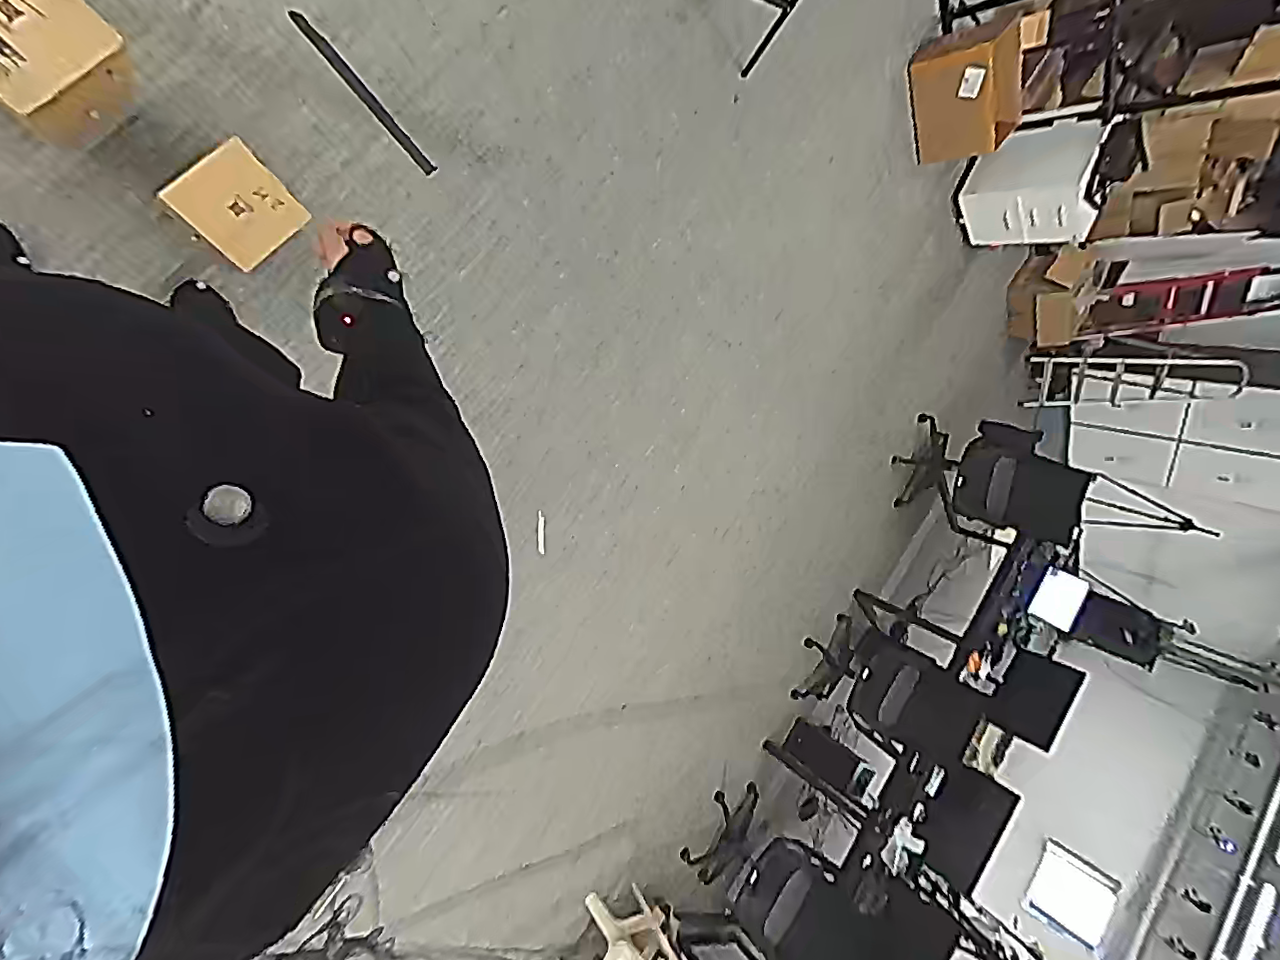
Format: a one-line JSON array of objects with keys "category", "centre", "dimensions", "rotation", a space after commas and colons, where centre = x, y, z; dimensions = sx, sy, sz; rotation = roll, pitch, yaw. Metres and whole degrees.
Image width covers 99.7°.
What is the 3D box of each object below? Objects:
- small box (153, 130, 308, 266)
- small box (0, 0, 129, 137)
[{"category": "small box", "centre": [-0.796, -0.540, 1.056], "dimensions": [0.179, 0.176, 0.168], "rotation": [-51, 133, -15]}, {"category": "small box", "centre": [-0.964, -0.682, 0.852], "dimensions": [0.179, 0.176, 0.168], "rotation": [-52, 132, -13]}]
